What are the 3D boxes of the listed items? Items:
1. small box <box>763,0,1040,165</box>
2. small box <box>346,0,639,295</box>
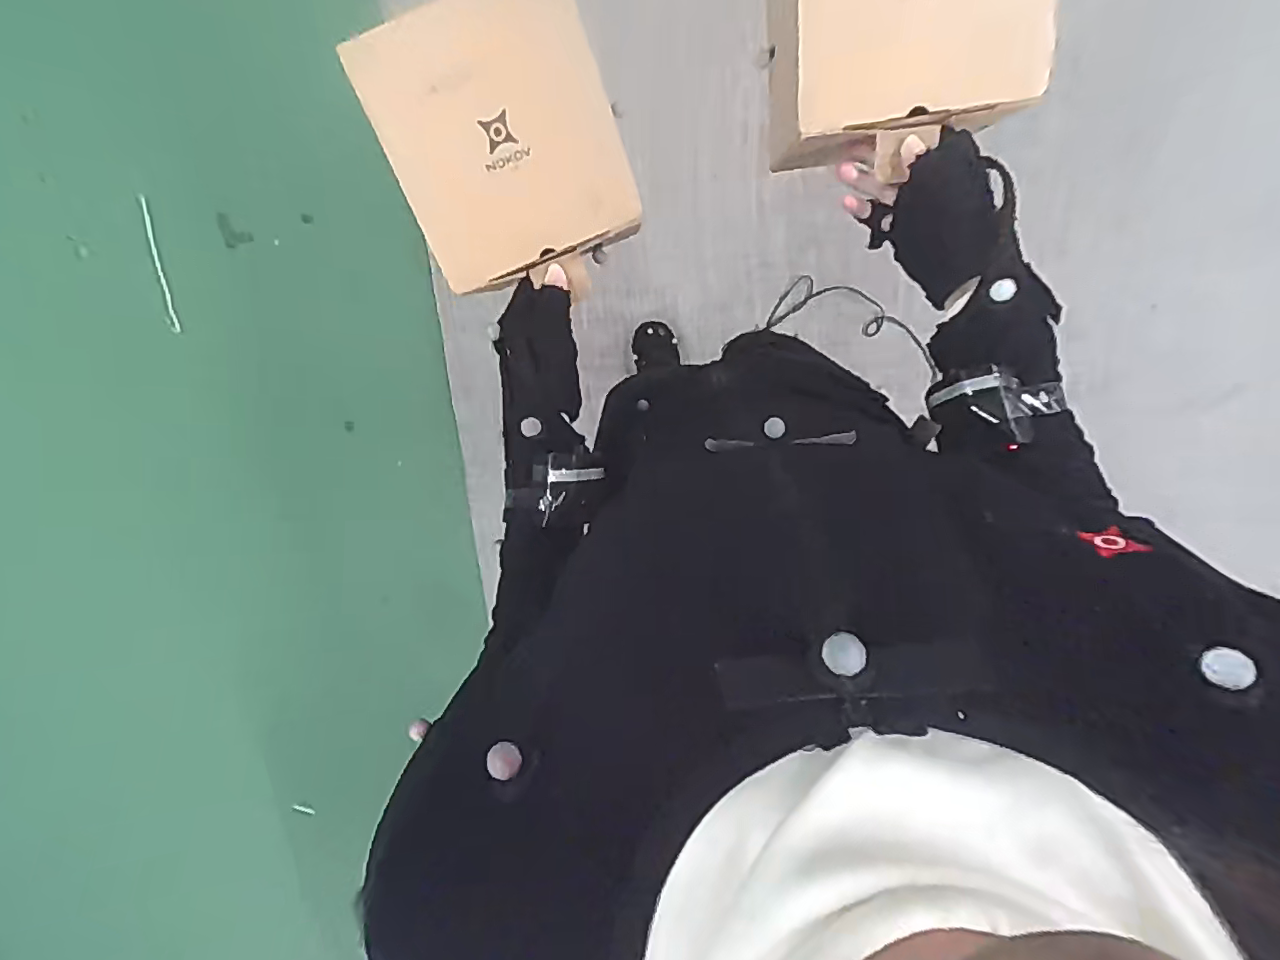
[{"bbox_3d":[0.191,-0.364,0.432,0.168,0.176,0.179,-3,112,8],"label":"small box"},{"bbox_3d":[-0.106,-0.281,0.478,0.168,0.176,0.179,-20,110,5],"label":"small box"}]
